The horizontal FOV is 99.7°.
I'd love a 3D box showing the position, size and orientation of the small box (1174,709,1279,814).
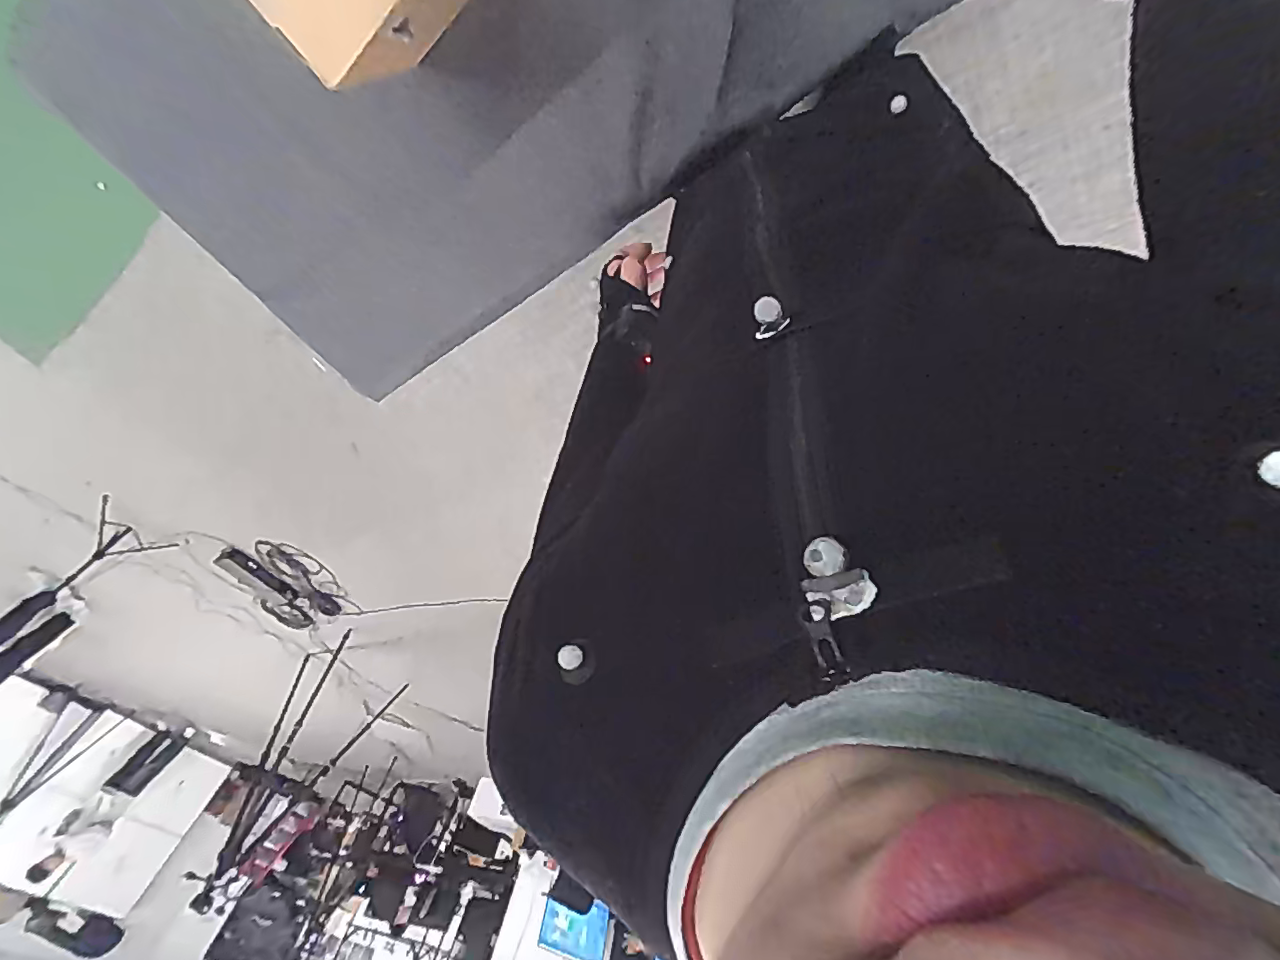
[{"bbox_3d":[1.405,0.660,1.273,0.179,0.176,0.168,-21,124,32],"label":"small box"}]
